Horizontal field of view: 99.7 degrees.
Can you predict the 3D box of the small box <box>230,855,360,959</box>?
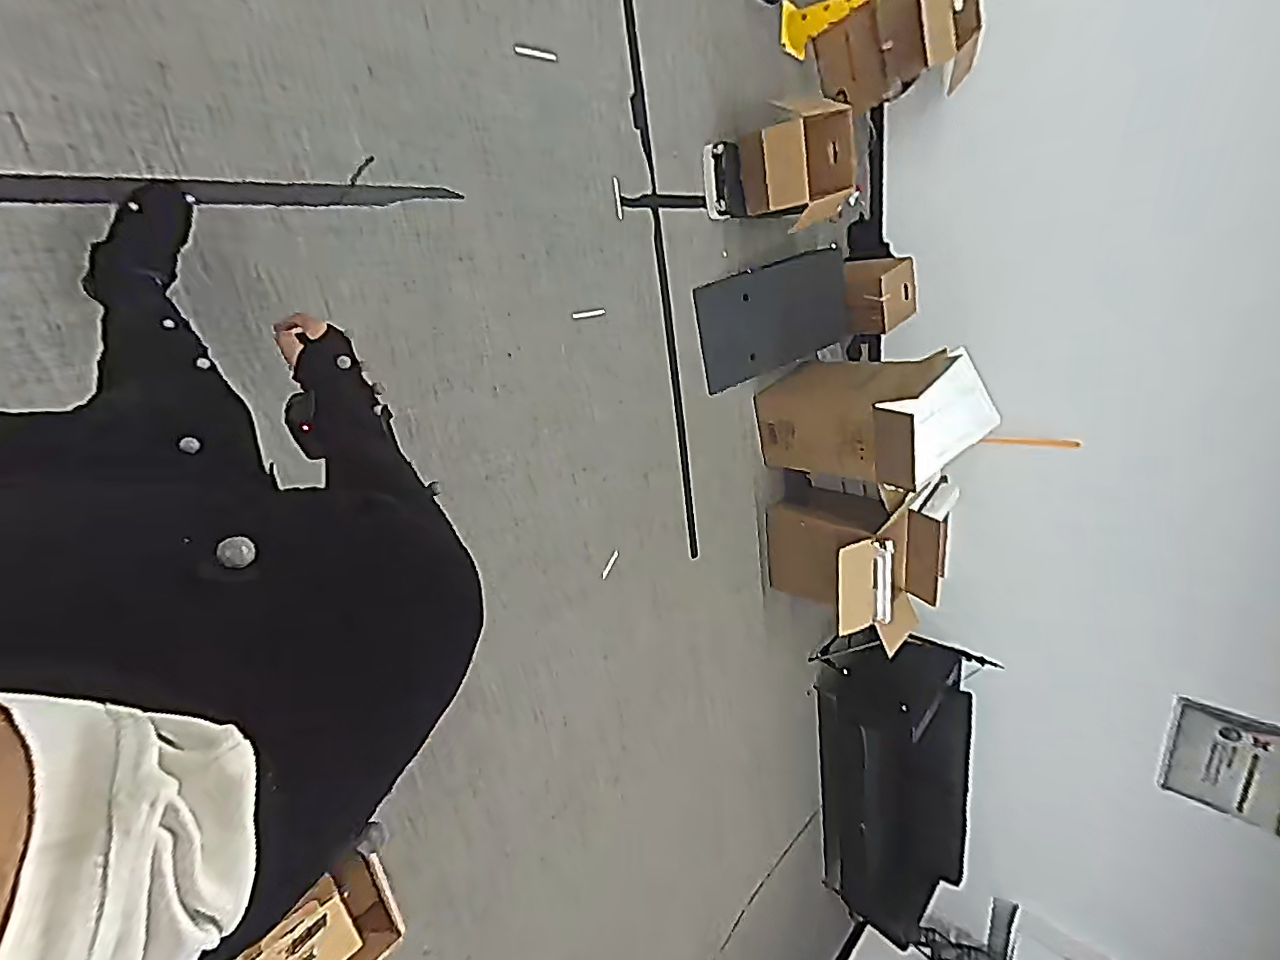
[{"bbox_3d":[-0.717,0.929,1.122,0.168,0.176,0.179,-26,117,-39],"label":"small box"}]
